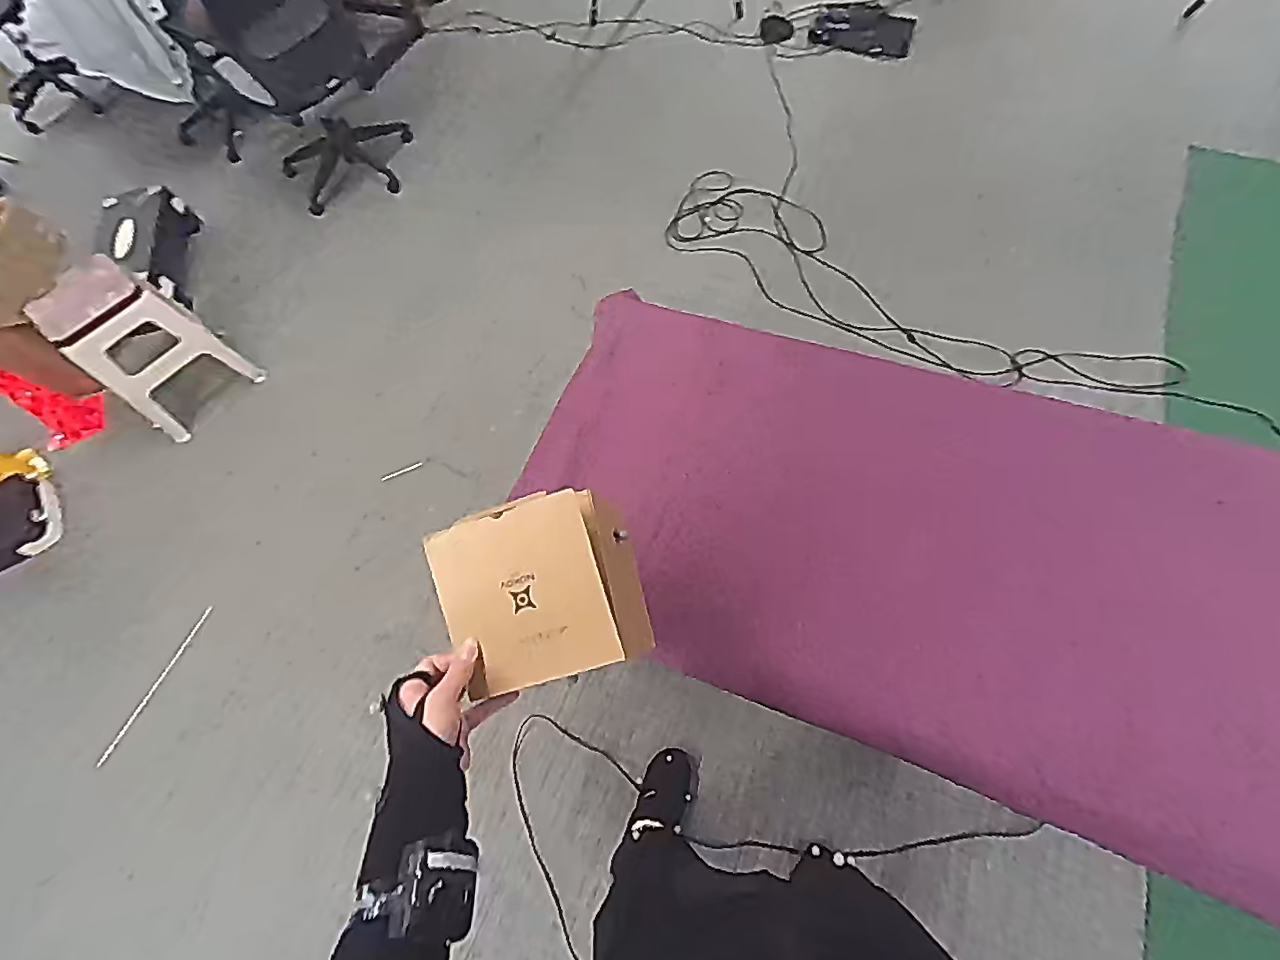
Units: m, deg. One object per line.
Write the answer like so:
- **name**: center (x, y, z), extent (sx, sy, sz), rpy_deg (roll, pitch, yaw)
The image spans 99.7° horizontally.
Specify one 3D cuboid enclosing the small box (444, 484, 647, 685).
- **small box**: center (-0.099, 0.121, 0.623), extent (0.168, 0.176, 0.179), rpy_deg (-15, 76, 9)
